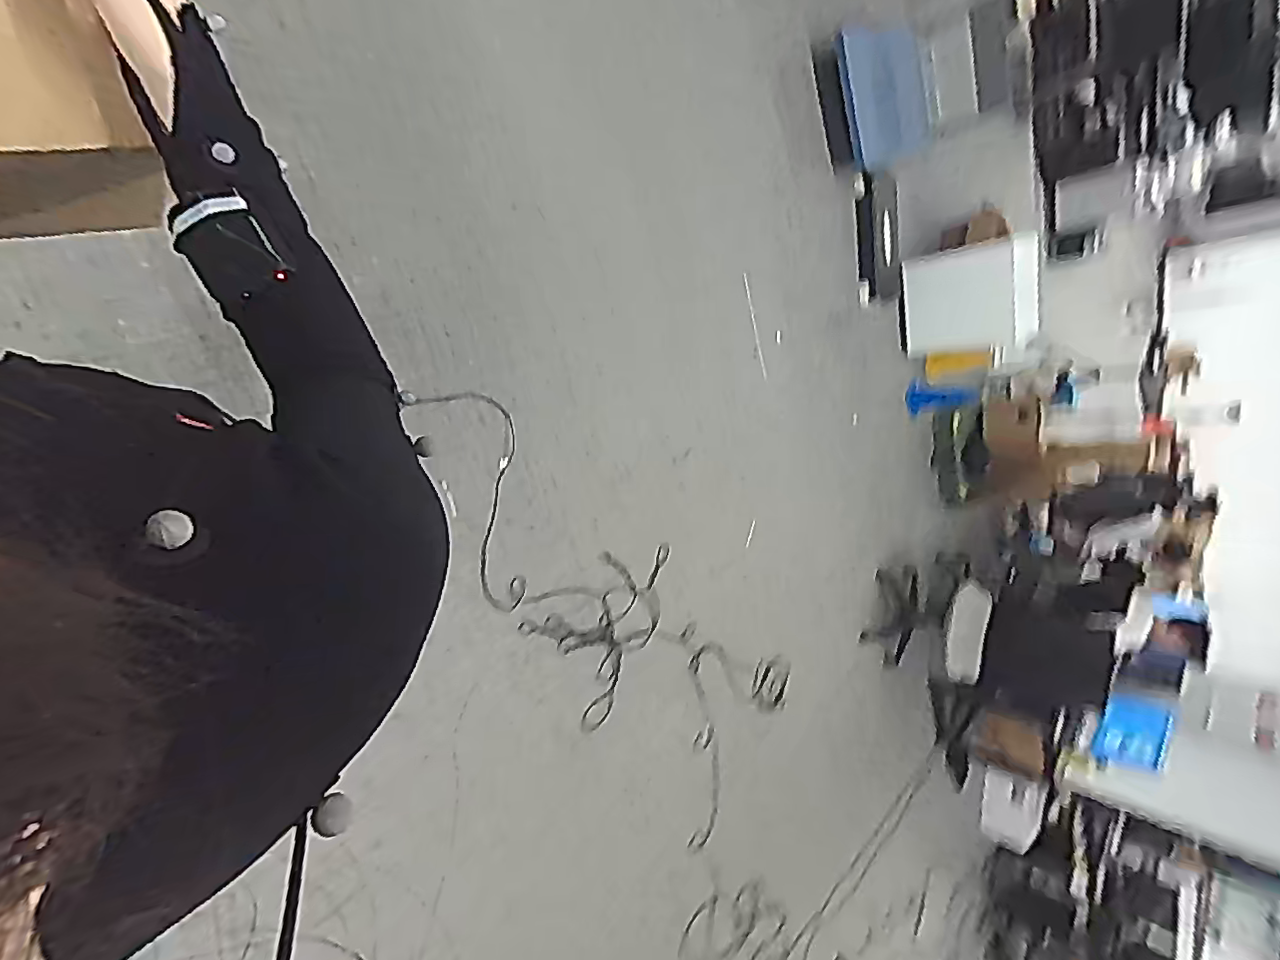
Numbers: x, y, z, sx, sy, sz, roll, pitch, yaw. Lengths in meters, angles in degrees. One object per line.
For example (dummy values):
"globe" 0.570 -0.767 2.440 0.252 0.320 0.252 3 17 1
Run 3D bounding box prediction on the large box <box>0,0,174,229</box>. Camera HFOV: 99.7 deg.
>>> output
"large box" -0.609 -0.337 0.340 0.408 0.320 0.320 -25 115 -34
